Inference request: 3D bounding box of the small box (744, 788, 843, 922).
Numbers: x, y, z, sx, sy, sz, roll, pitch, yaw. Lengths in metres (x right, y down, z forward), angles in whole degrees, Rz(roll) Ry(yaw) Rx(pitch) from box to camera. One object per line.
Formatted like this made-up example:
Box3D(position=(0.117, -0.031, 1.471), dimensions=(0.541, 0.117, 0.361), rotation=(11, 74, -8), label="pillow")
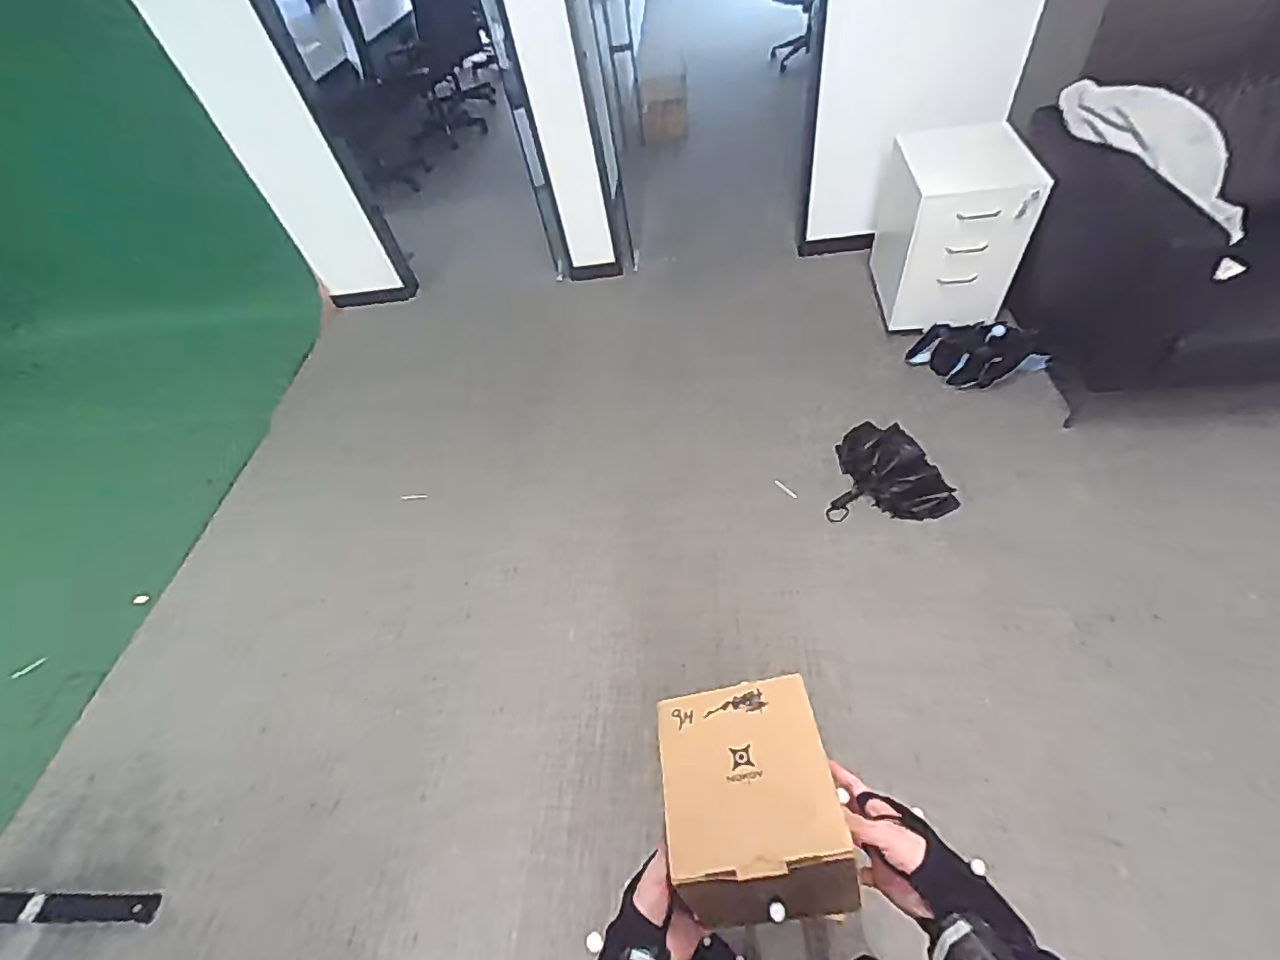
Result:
Box3D(position=(0.299, 0.742, 1.071), dimensions=(0.168, 0.176, 0.179), rotation=(7, 54, 16), label="small box")
